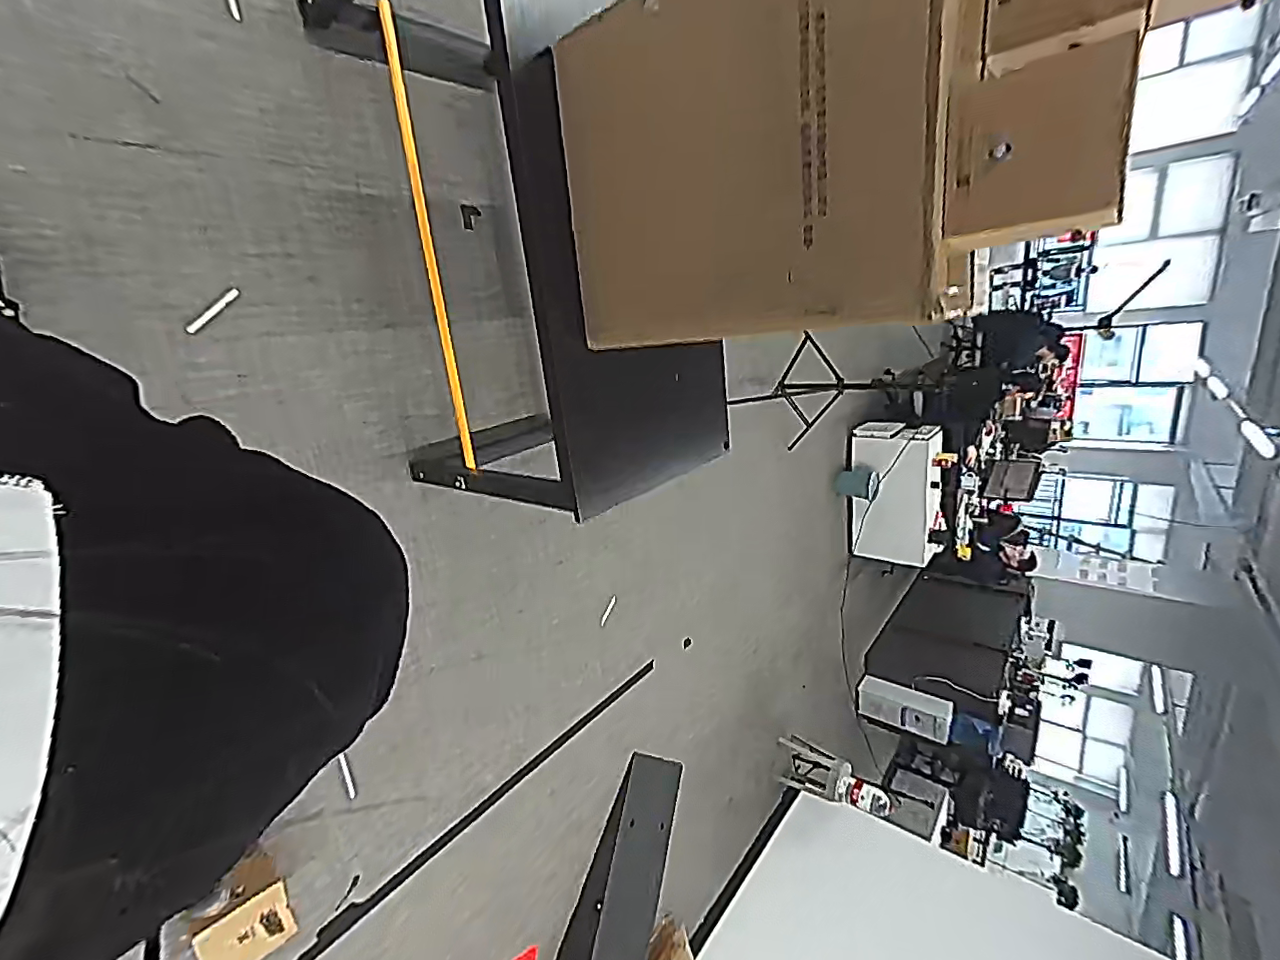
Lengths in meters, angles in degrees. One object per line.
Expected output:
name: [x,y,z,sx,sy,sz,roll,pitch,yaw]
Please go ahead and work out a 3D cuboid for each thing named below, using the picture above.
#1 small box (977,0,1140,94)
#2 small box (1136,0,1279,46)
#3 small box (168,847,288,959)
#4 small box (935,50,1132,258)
small box: [0.567,-0.646,0.726,0.179,0.176,0.168,-23,115,-47]
small box: [0.673,-0.621,0.599,0.179,0.176,0.168,-27,116,-45]
small box: [-0.974,1.028,1.280,0.179,0.176,0.168,-19,110,-47]
small box: [0.482,-0.379,0.671,0.179,0.176,0.168,-19,109,-47]
